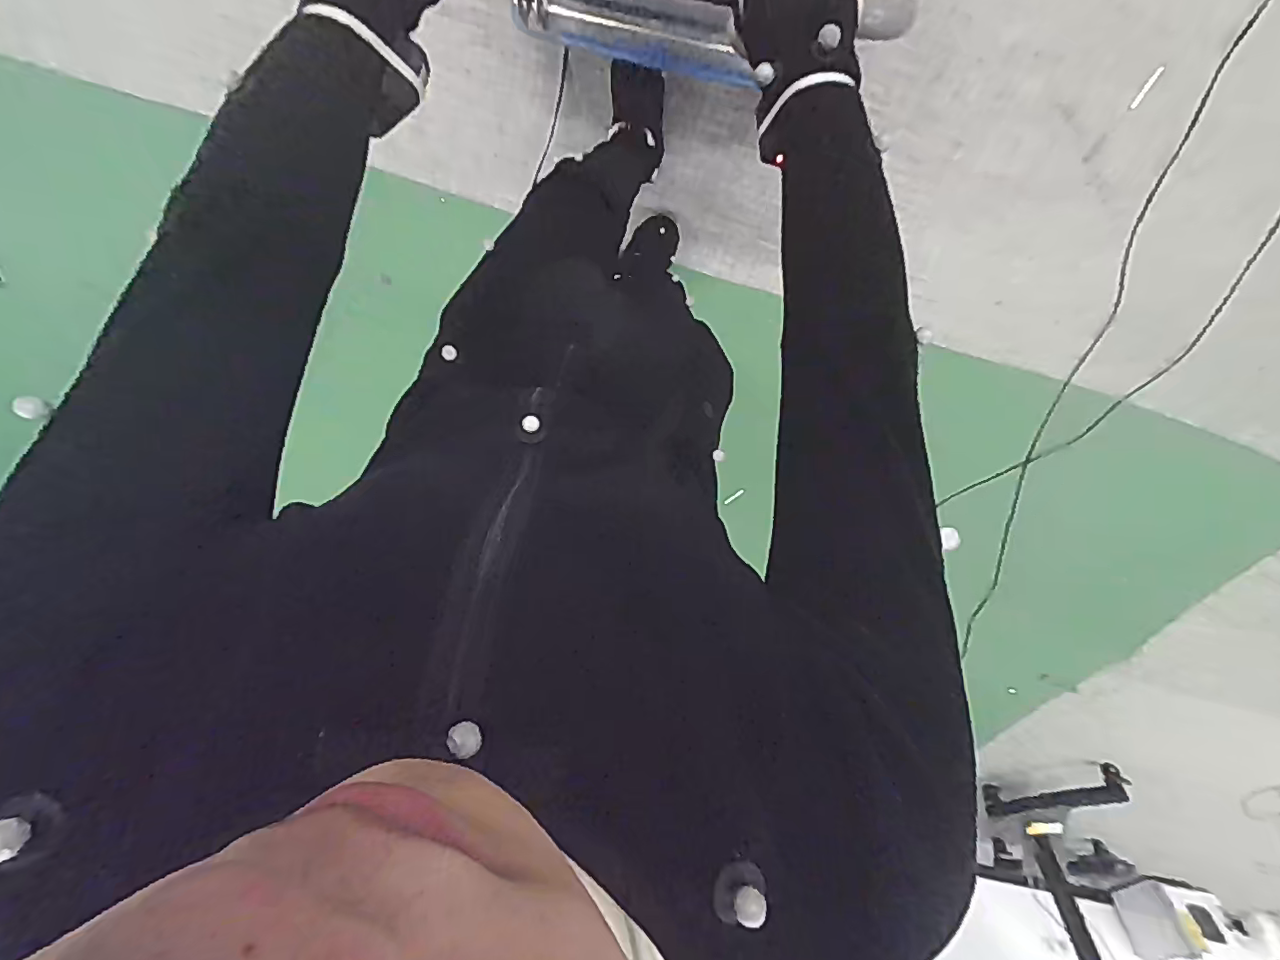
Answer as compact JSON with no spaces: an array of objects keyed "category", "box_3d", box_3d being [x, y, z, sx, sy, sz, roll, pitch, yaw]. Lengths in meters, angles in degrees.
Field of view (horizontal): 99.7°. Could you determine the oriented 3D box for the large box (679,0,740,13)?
[{"category":"large box","box_3d":[0.044,-0.939,0.734,0.320,0.320,0.408,12,126,-3]}]
